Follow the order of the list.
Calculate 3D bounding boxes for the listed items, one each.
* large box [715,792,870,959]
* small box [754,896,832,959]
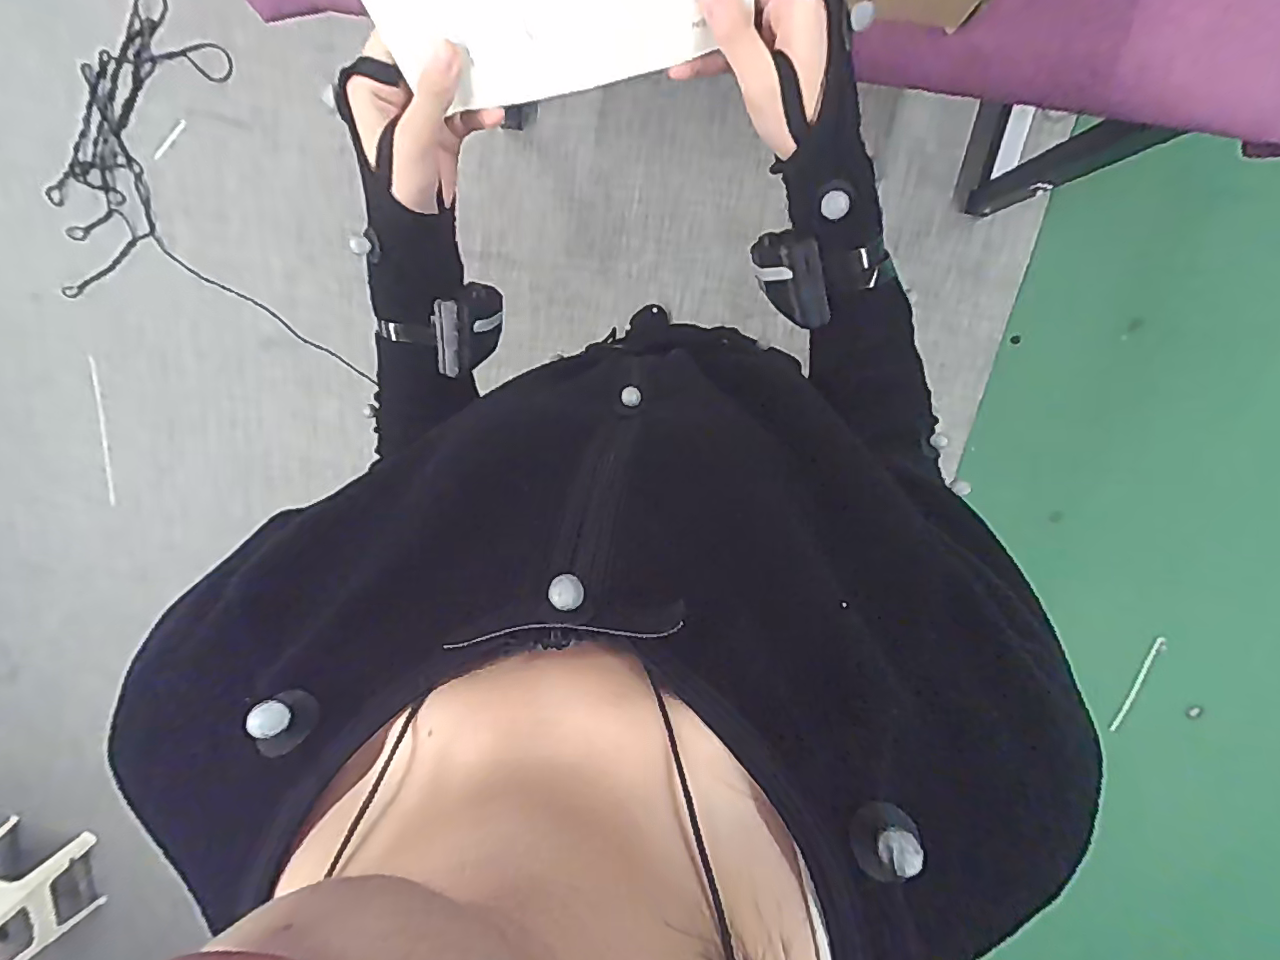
[{"bbox_3d":[0.445,1.199,1.648,0.408,0.320,0.320,-3,106,6],"label":"large box"},{"bbox_3d":[0.391,1.233,1.407,0.168,0.176,0.179,3,105,6],"label":"small box"}]
